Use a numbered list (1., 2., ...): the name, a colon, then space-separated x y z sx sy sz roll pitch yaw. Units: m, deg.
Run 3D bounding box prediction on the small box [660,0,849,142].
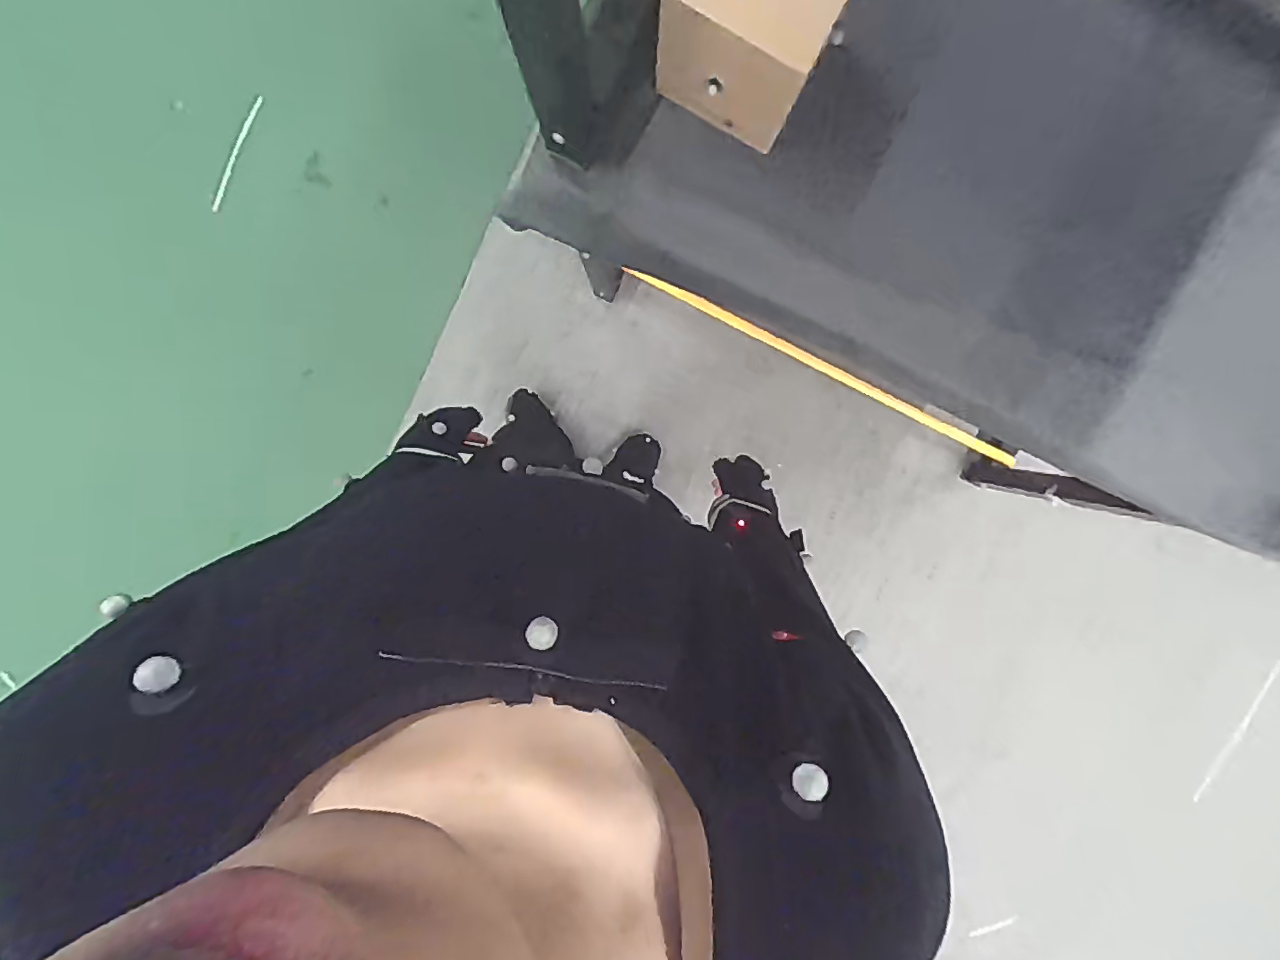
1. small box: 0.132 -0.522 0.594 0.168 0.176 0.179 28 96 -4
